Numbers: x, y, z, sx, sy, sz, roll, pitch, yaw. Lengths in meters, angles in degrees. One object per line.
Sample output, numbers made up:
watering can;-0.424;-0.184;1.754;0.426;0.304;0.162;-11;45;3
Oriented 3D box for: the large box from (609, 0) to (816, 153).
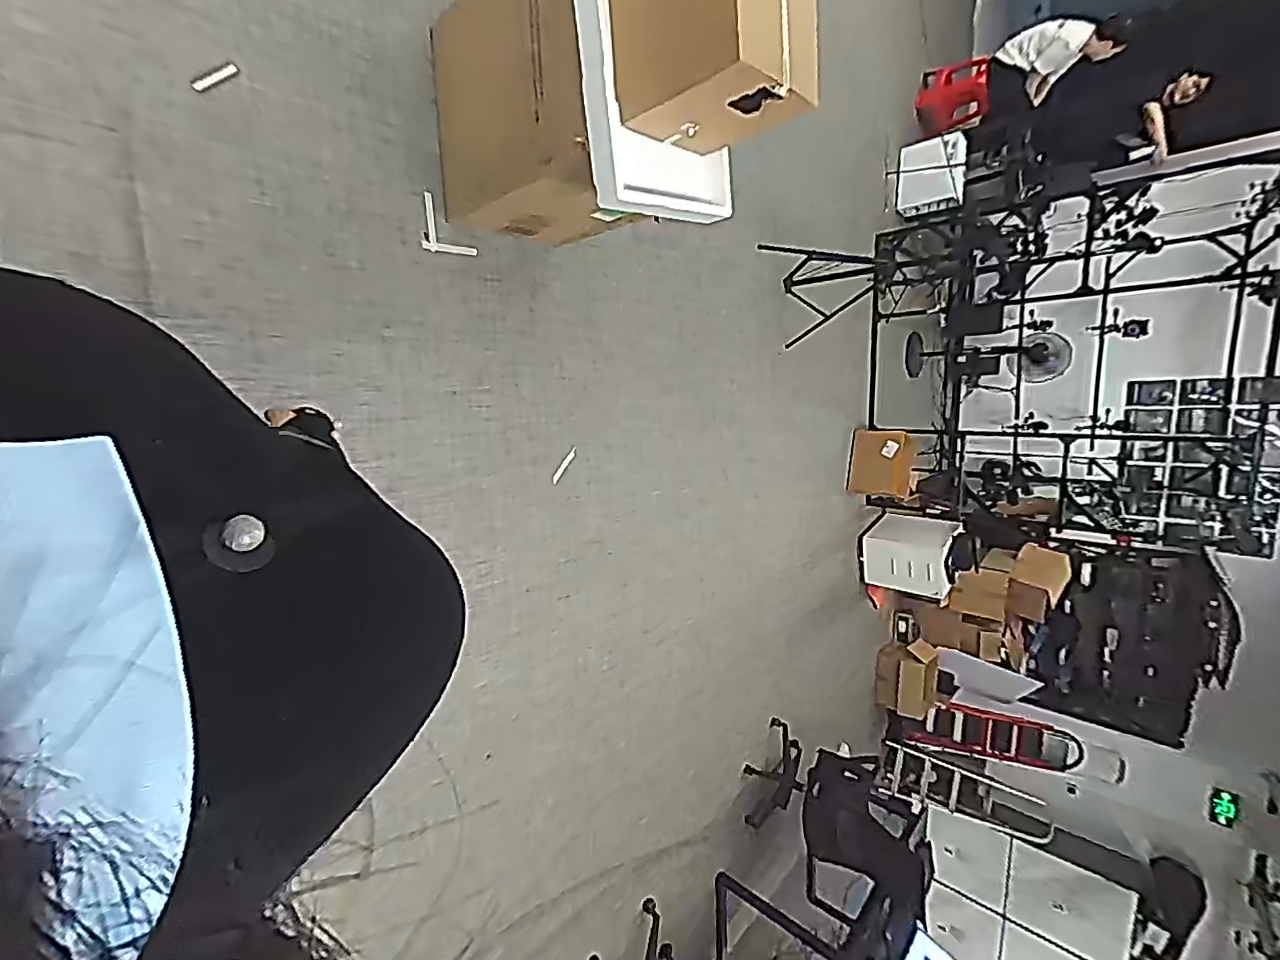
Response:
large box;0.149;-0.974;1.126;0.320;0.320;0.408;-17;106;-46
